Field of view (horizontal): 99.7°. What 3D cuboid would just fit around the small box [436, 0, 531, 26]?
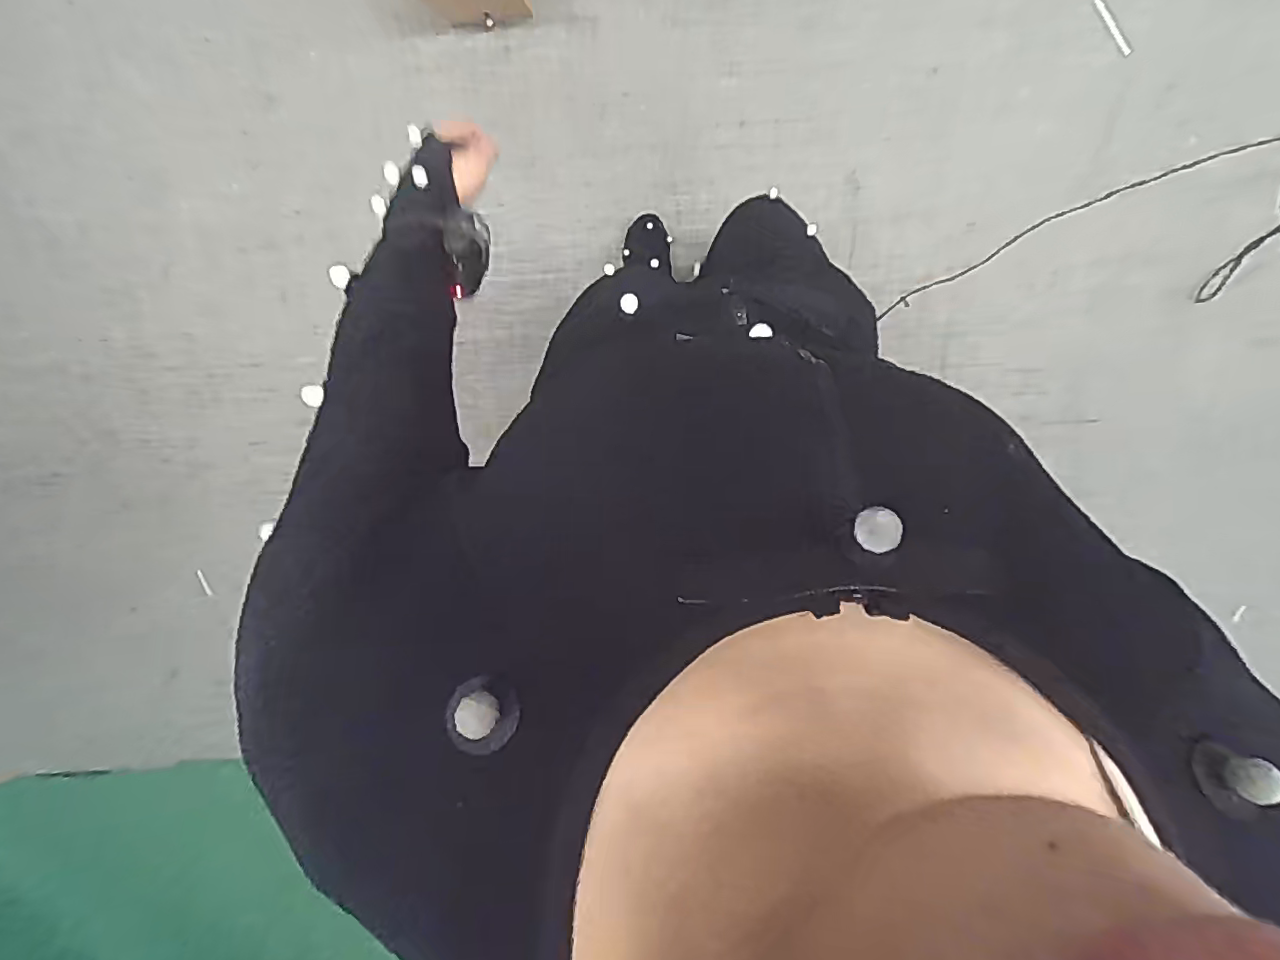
[{"bbox_3d":[-0.308,-0.980,1.009,0.179,0.176,0.168,-4,117,3],"label":"small box"}]
